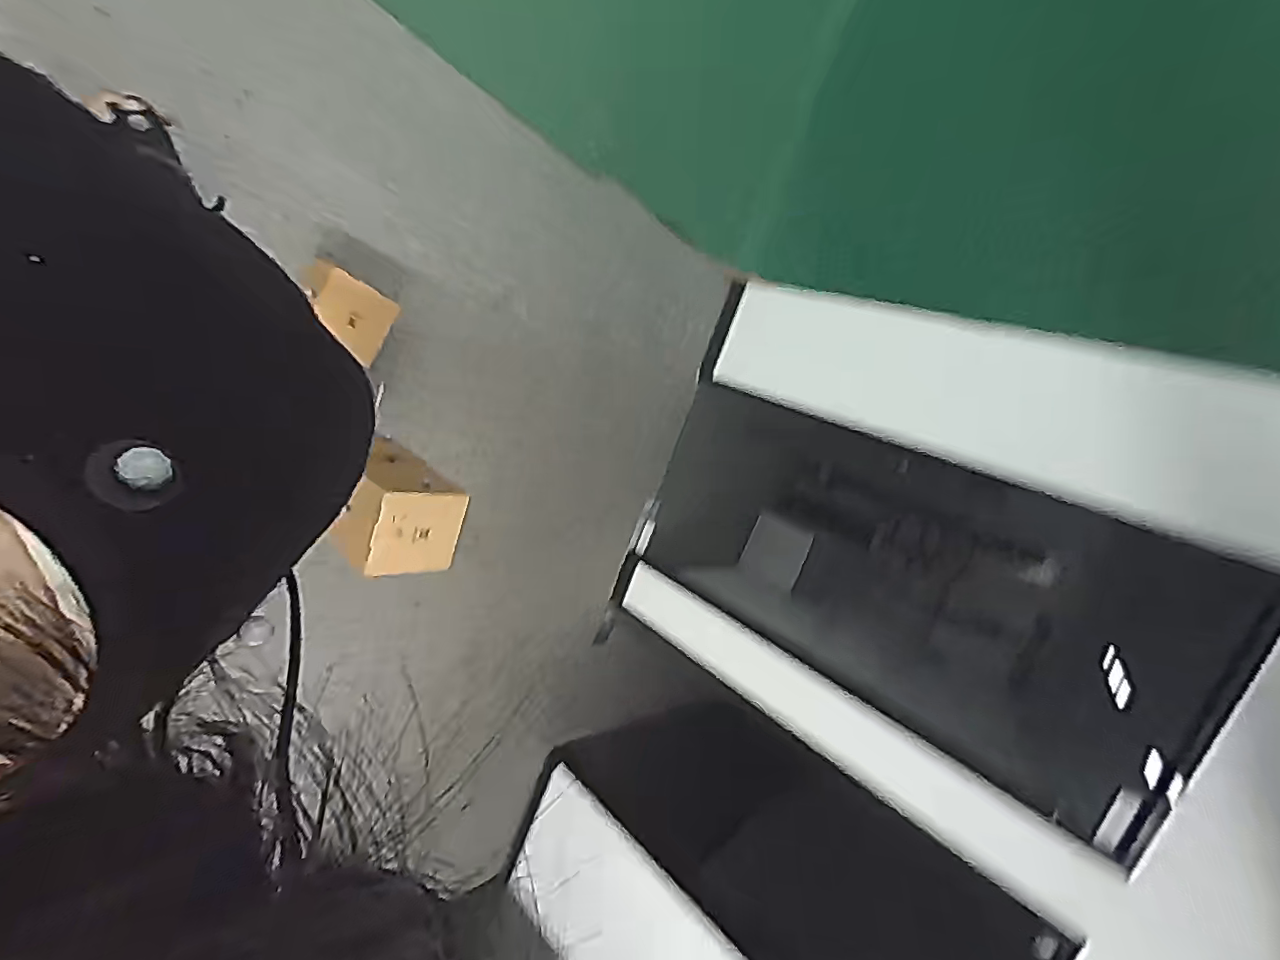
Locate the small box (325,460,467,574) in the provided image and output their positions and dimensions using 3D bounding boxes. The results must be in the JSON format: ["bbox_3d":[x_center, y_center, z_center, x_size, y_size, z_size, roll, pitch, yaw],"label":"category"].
[{"bbox_3d":[-0.479,0.069,1.060,0.179,0.176,0.168,7,106,-53],"label":"small box"}]

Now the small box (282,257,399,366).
[{"bbox_3d":[-0.723,-0.405,1.296,0.168,0.176,0.179,30,88,-54],"label":"small box"}]

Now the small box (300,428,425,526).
[{"bbox_3d":[-0.596,0.003,1.155,0.168,0.176,0.179,9,106,-53],"label":"small box"}]
